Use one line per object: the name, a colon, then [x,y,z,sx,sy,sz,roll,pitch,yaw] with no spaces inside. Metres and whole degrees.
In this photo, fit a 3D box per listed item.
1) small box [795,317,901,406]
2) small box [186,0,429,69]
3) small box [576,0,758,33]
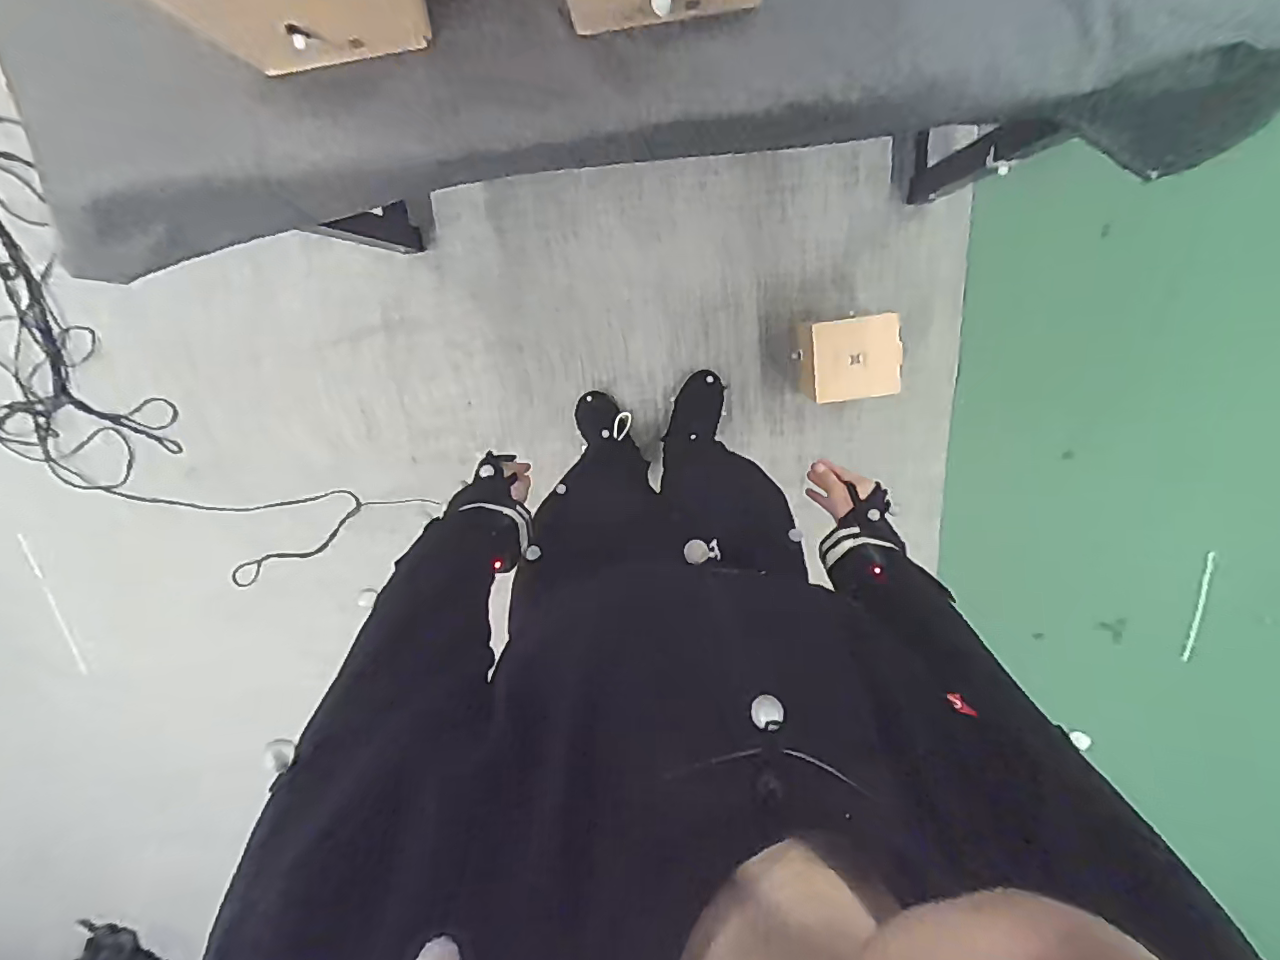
small box: [0.446,-0.262,1.175,0.179,0.176,0.168,-6,105,6]
small box: [-0.284,-0.455,0.404,0.168,0.176,0.179,-7,106,5]
small box: [0.014,-0.468,0.380,0.168,0.176,0.179,-5,106,5]
